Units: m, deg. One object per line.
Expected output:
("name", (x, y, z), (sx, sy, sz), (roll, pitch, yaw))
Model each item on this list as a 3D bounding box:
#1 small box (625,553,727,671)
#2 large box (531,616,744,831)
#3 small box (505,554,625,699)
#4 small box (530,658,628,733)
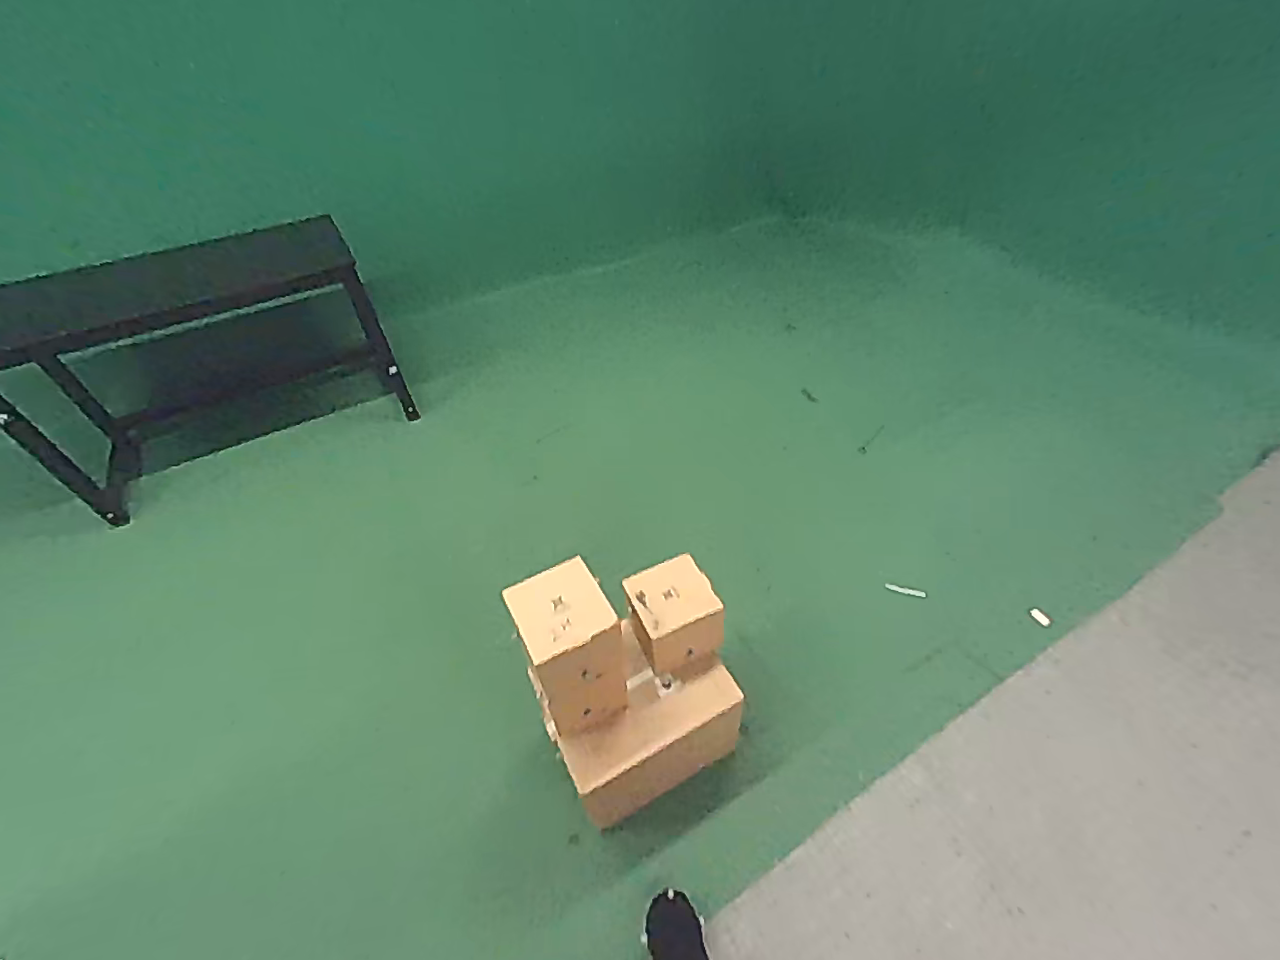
("small box", (0.079, 0.302, 1.235), (0.179, 0.176, 0.168), (-19, 46, -14))
("large box", (-0.005, 0.563, 1.328), (0.408, 0.320, 0.320), (-22, 48, -18))
("small box", (-0.142, 0.283, 1.042), (0.168, 0.176, 0.179), (-23, 48, -19))
("small box", (-0.136, 0.400, 1.158), (0.168, 0.176, 0.179), (-22, 47, -18))
